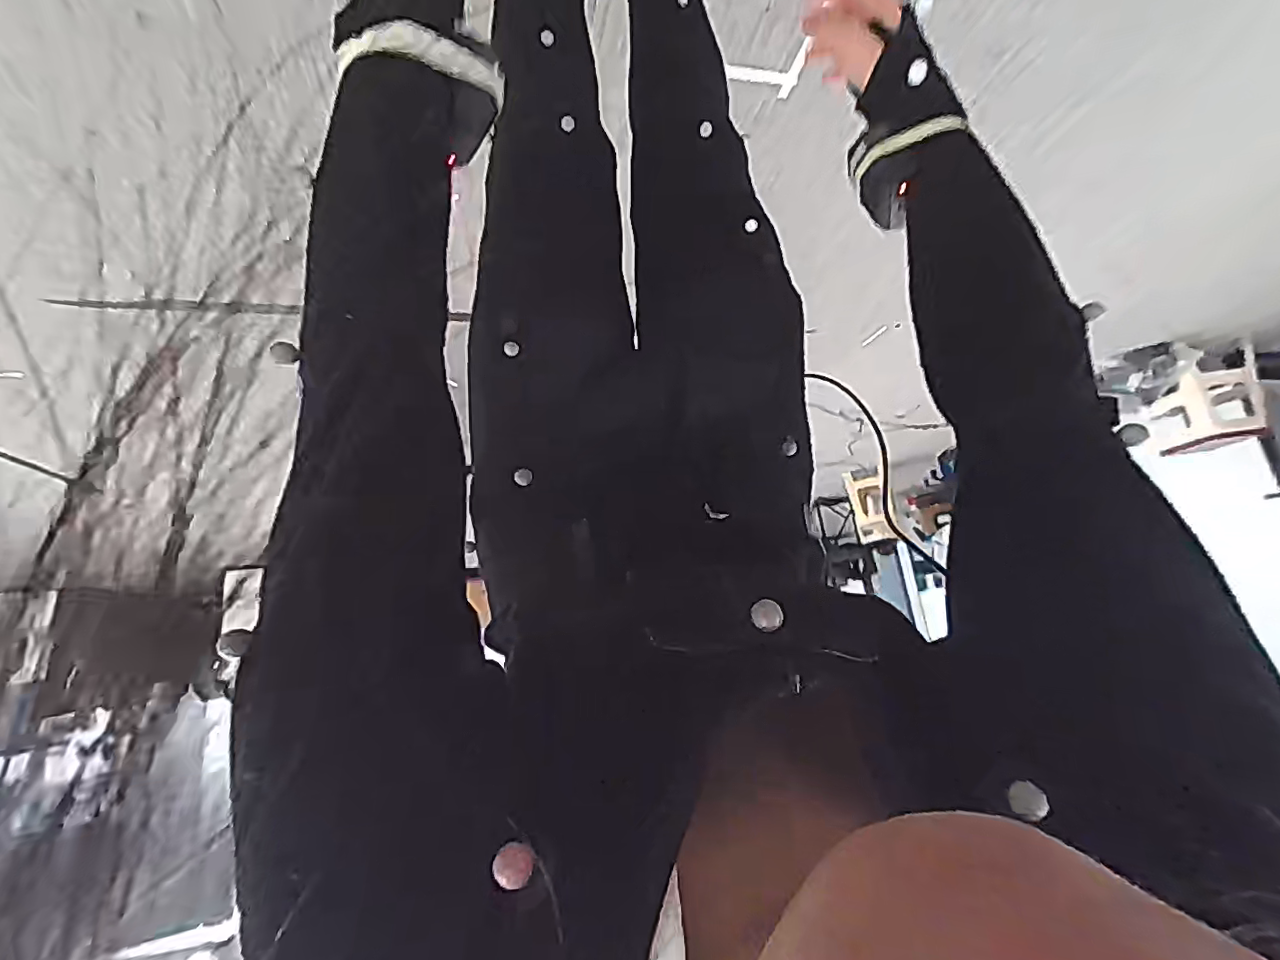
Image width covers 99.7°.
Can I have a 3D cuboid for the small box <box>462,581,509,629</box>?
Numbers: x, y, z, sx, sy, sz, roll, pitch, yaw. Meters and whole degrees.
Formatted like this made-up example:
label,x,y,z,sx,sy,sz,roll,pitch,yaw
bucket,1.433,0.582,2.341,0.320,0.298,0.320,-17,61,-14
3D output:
label,x,y,z,sx,sy,sz,roll,pitch,yaw
small box,-0.626,0.505,2.180,0.168,0.176,0.179,-4,165,-20
